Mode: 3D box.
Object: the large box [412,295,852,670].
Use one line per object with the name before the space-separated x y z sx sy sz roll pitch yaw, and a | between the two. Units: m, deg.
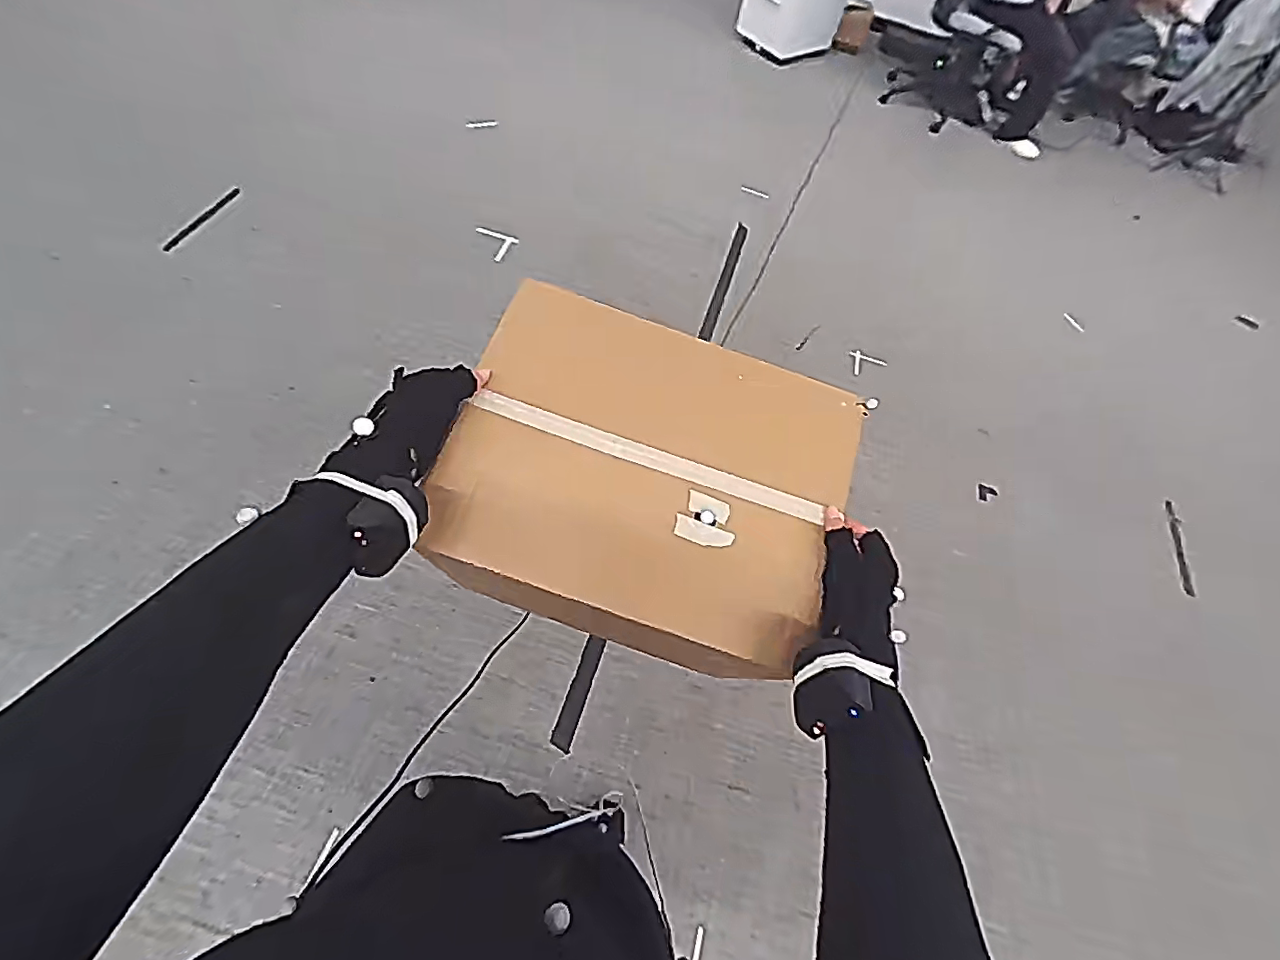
large box | -0.006 0.032 0.701 0.408 0.320 0.320 19 70 -1
